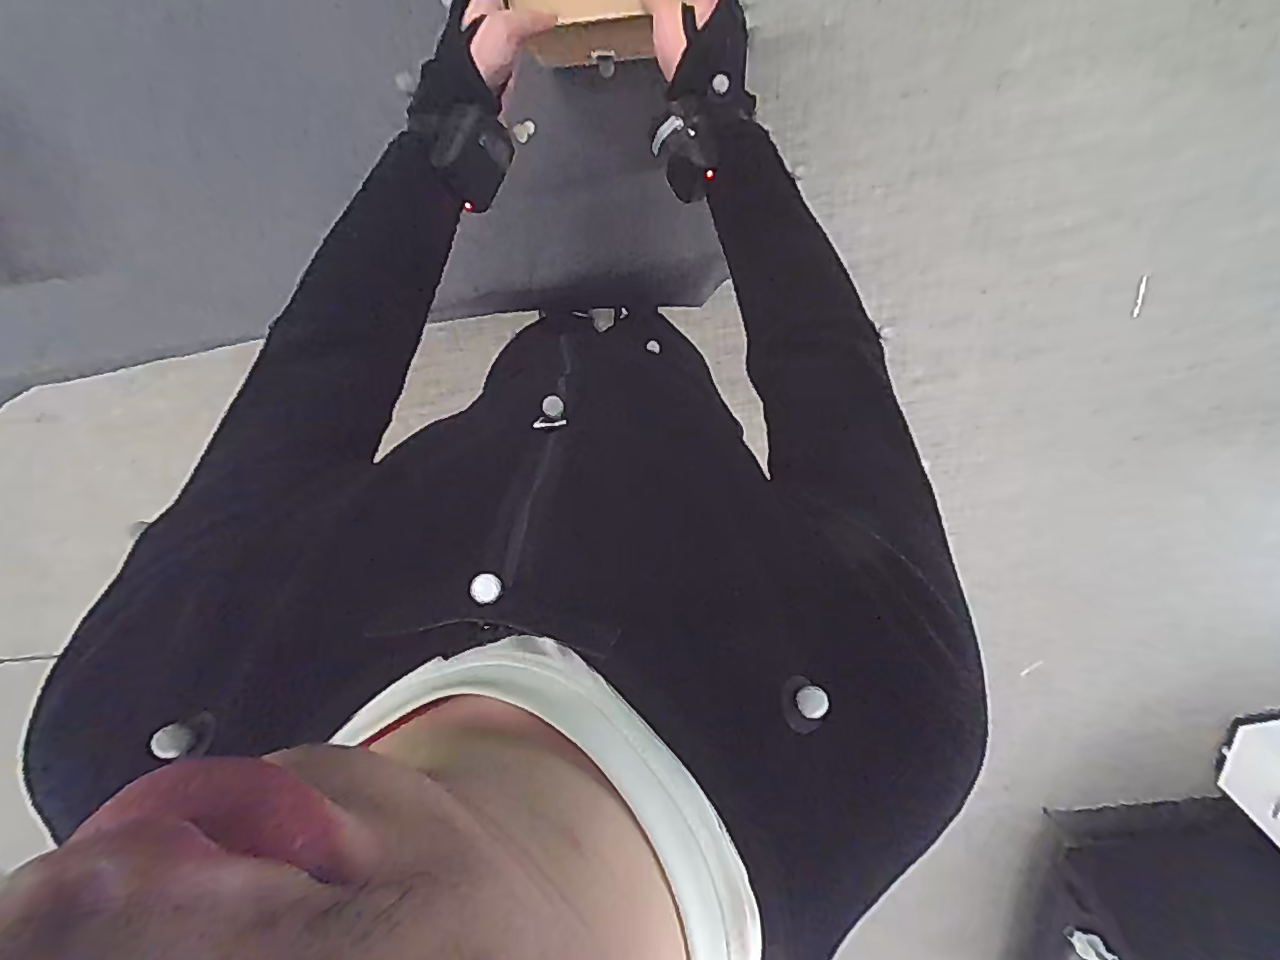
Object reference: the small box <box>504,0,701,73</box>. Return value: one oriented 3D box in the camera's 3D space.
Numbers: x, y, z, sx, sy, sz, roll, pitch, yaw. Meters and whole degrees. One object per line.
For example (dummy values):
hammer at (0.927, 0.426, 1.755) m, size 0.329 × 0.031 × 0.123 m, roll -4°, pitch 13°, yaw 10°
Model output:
small box at (-0.032, -0.493, 0.483) m, size 0.168 × 0.176 × 0.179 m, roll -2°, pitch 118°, yaw 4°
